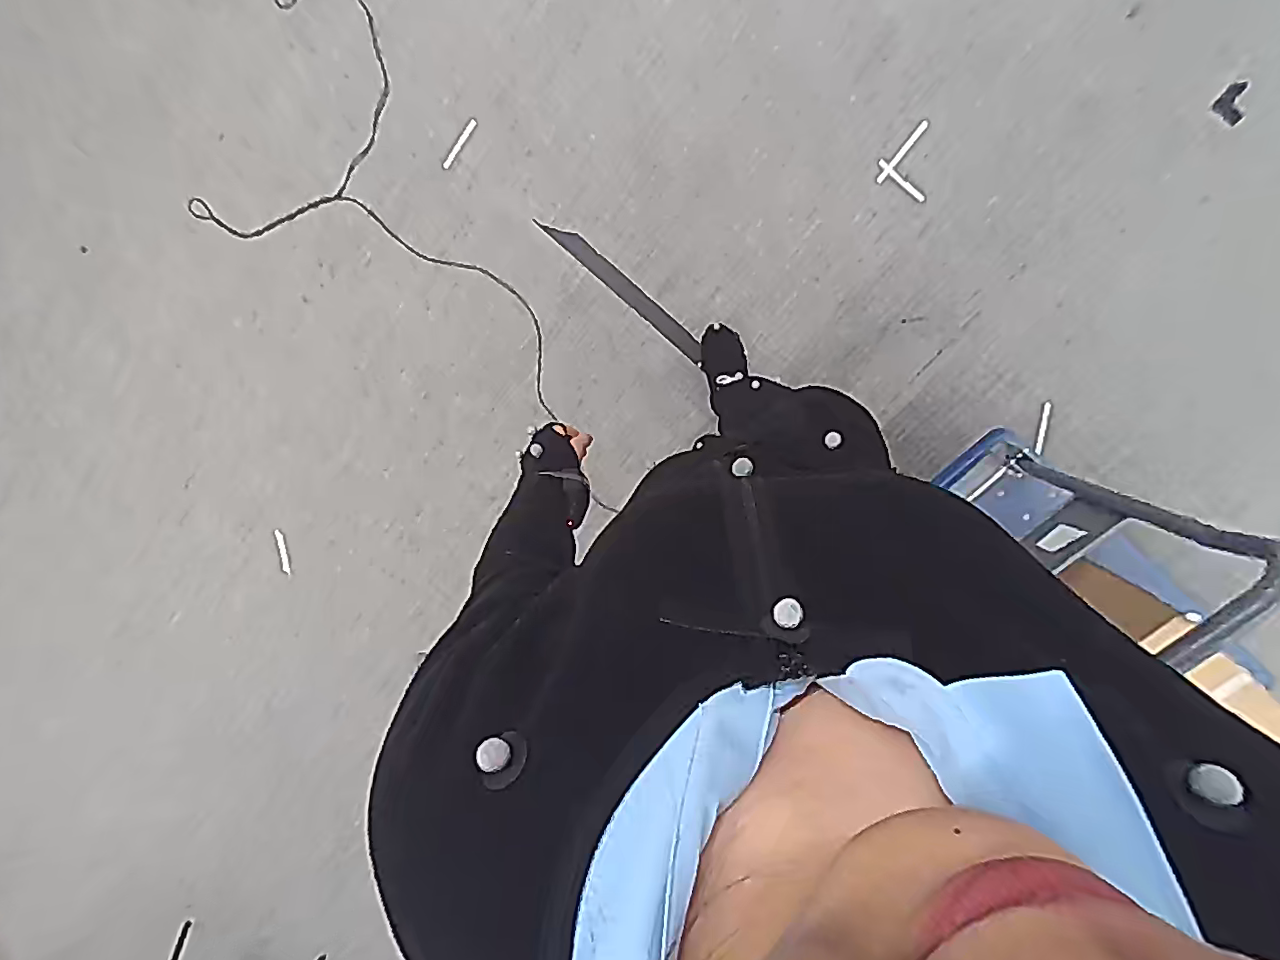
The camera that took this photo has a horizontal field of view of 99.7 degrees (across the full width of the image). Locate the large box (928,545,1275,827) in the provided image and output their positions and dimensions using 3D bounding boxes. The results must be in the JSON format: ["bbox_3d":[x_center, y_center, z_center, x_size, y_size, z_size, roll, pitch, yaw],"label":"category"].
[{"bbox_3d":[0.930,0.417,1.161,0.320,0.320,0.408,42,104,-3],"label":"large box"}]
